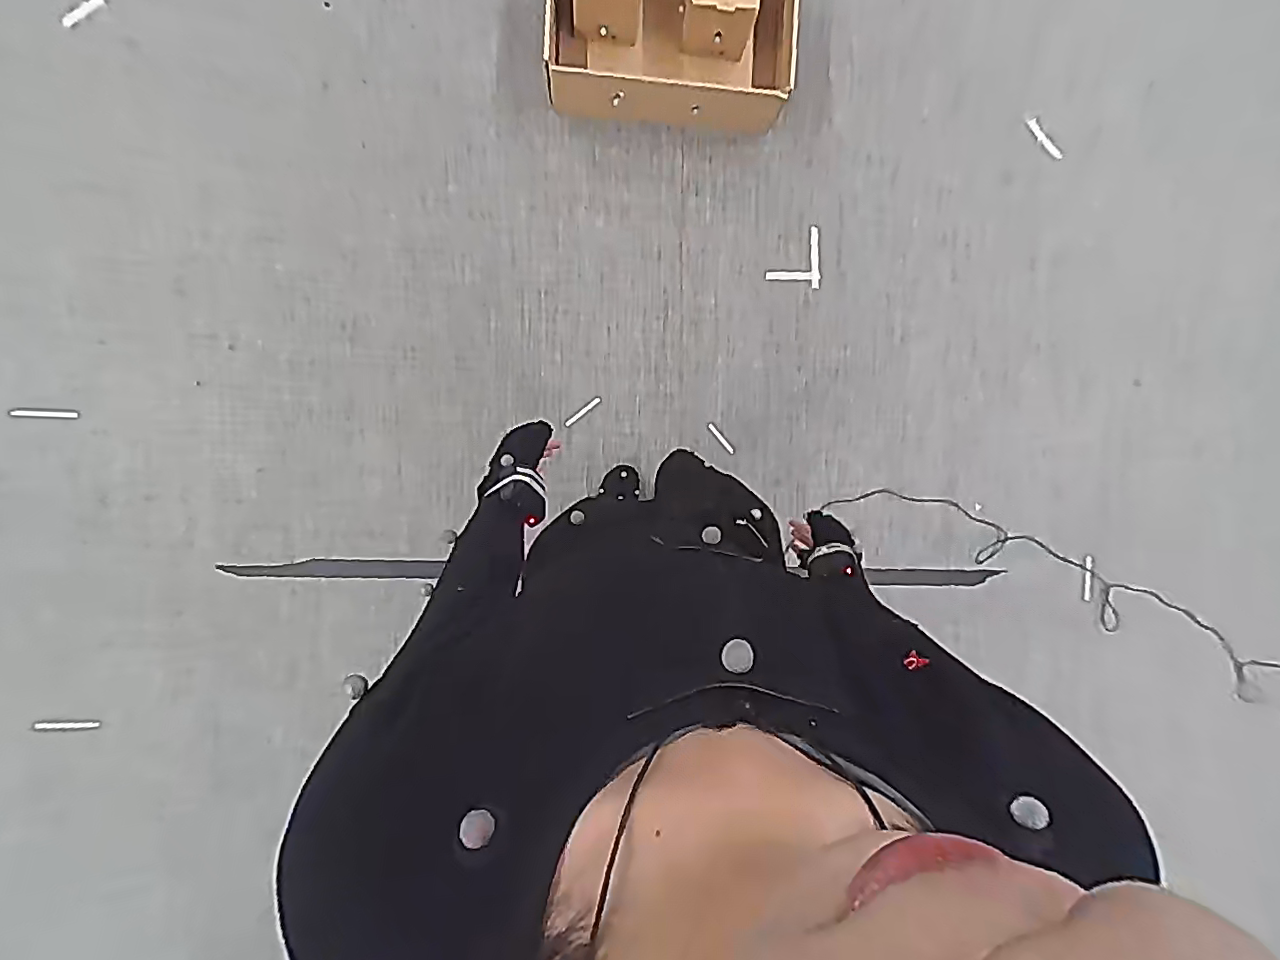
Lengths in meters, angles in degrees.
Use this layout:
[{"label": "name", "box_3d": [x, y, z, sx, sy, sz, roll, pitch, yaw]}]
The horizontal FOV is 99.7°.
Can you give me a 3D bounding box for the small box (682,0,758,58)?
[{"label": "small box", "box_3d": [0.203, -1.219, 1.368, 0.168, 0.176, 0.179, 3, 93, -5]}]
